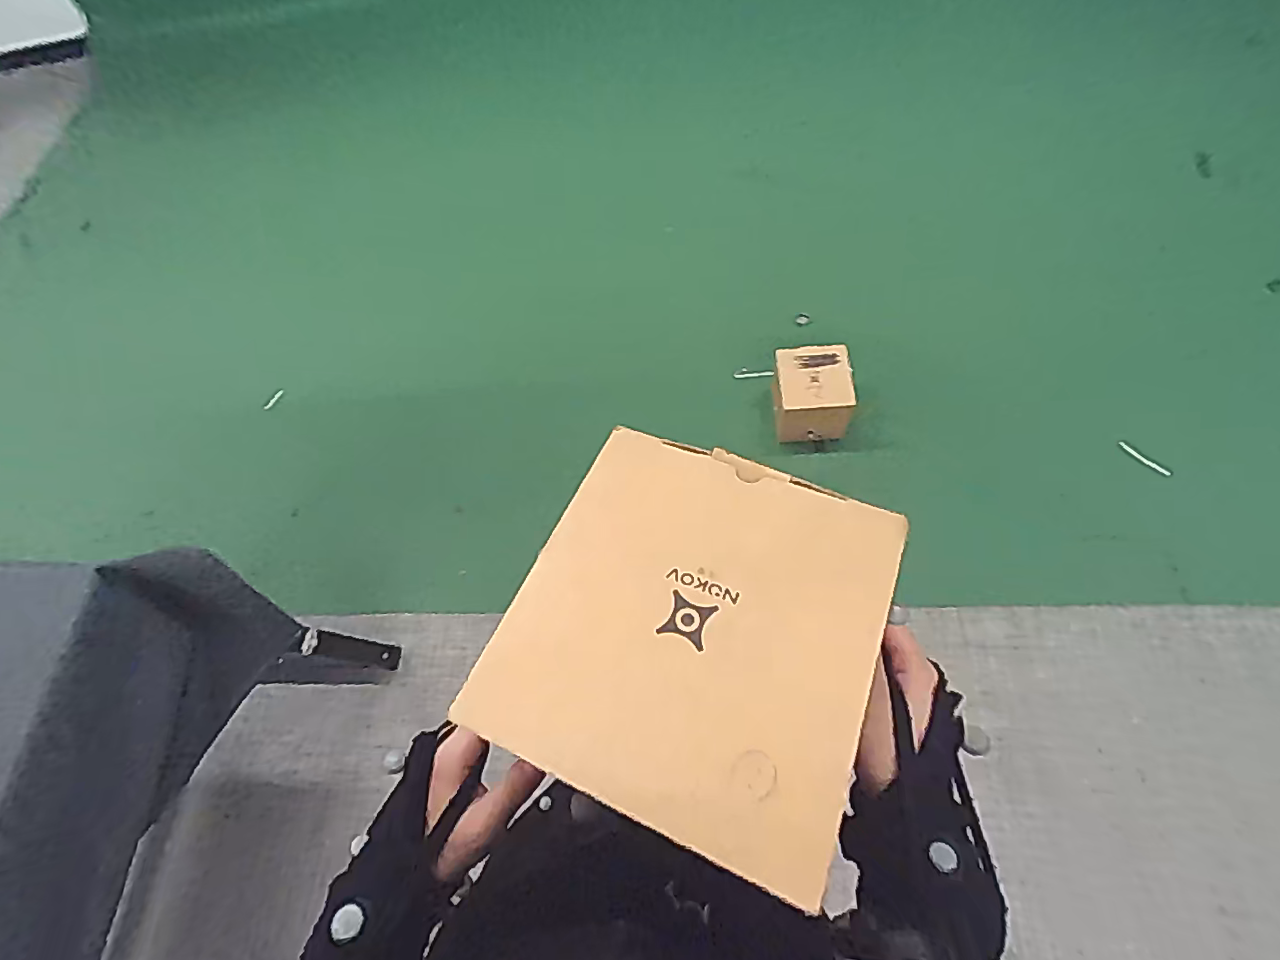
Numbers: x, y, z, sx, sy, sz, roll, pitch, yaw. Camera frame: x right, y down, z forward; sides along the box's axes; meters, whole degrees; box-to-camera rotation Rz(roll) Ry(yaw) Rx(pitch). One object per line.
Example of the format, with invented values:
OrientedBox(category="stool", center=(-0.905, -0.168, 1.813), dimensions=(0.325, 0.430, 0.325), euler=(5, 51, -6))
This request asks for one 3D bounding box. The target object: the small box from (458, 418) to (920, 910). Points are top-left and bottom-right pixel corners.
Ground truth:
OrientedBox(category="small box", center=(0.036, 0.099, 0.315), dimensions=(0.168, 0.176, 0.179), euler=(19, 62, 17))
